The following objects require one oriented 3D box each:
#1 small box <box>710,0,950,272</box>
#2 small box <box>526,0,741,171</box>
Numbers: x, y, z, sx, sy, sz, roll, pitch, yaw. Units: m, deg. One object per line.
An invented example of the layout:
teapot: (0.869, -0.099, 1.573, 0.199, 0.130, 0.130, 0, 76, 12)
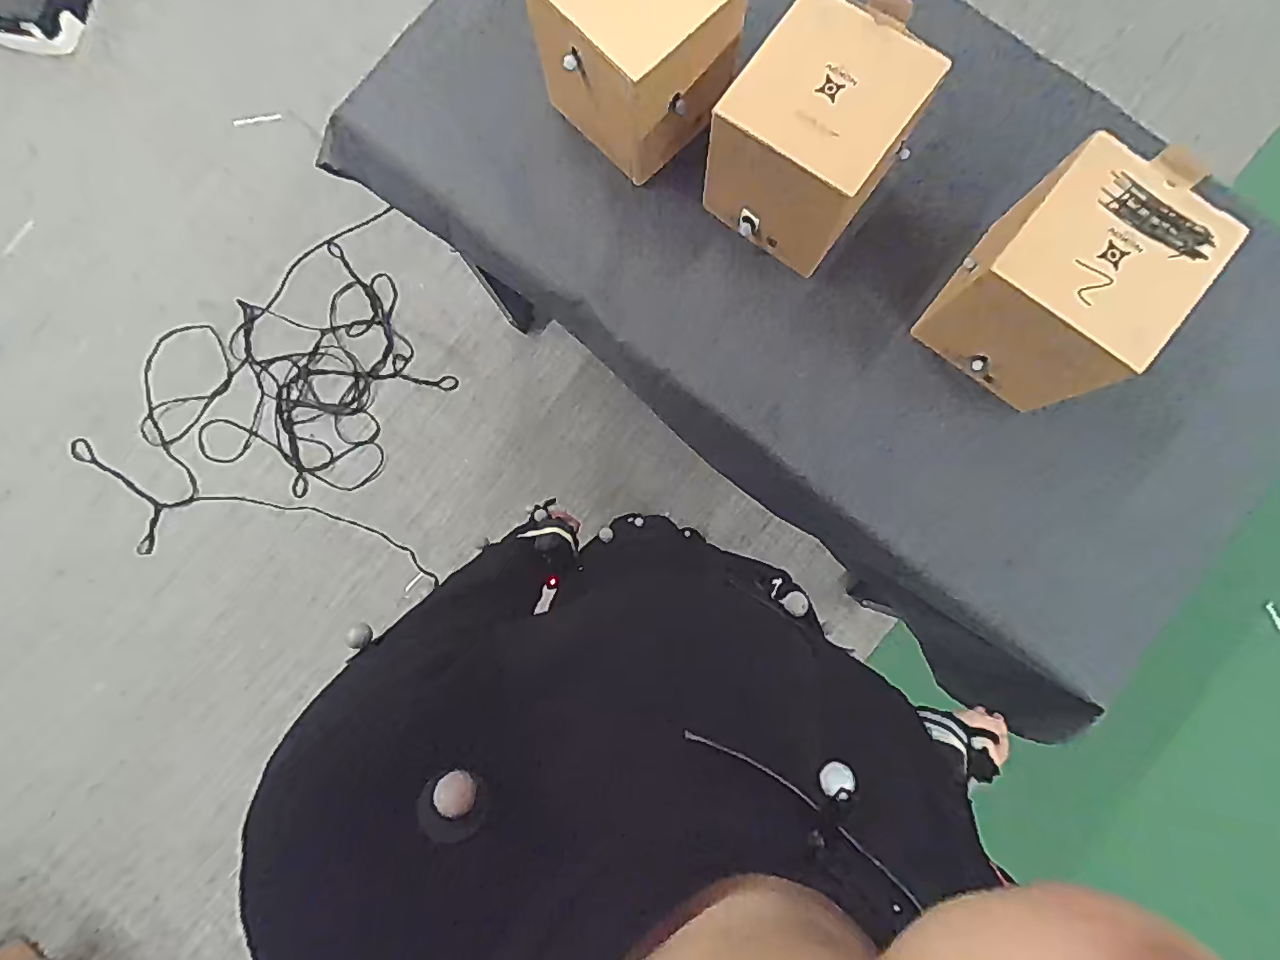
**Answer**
small box: (0.191, -0.376, 0.605, 0.168, 0.176, 0.179, 35, 86, 6)
small box: (-0.002, -0.500, 0.624, 0.168, 0.176, 0.179, -44, 84, -3)
